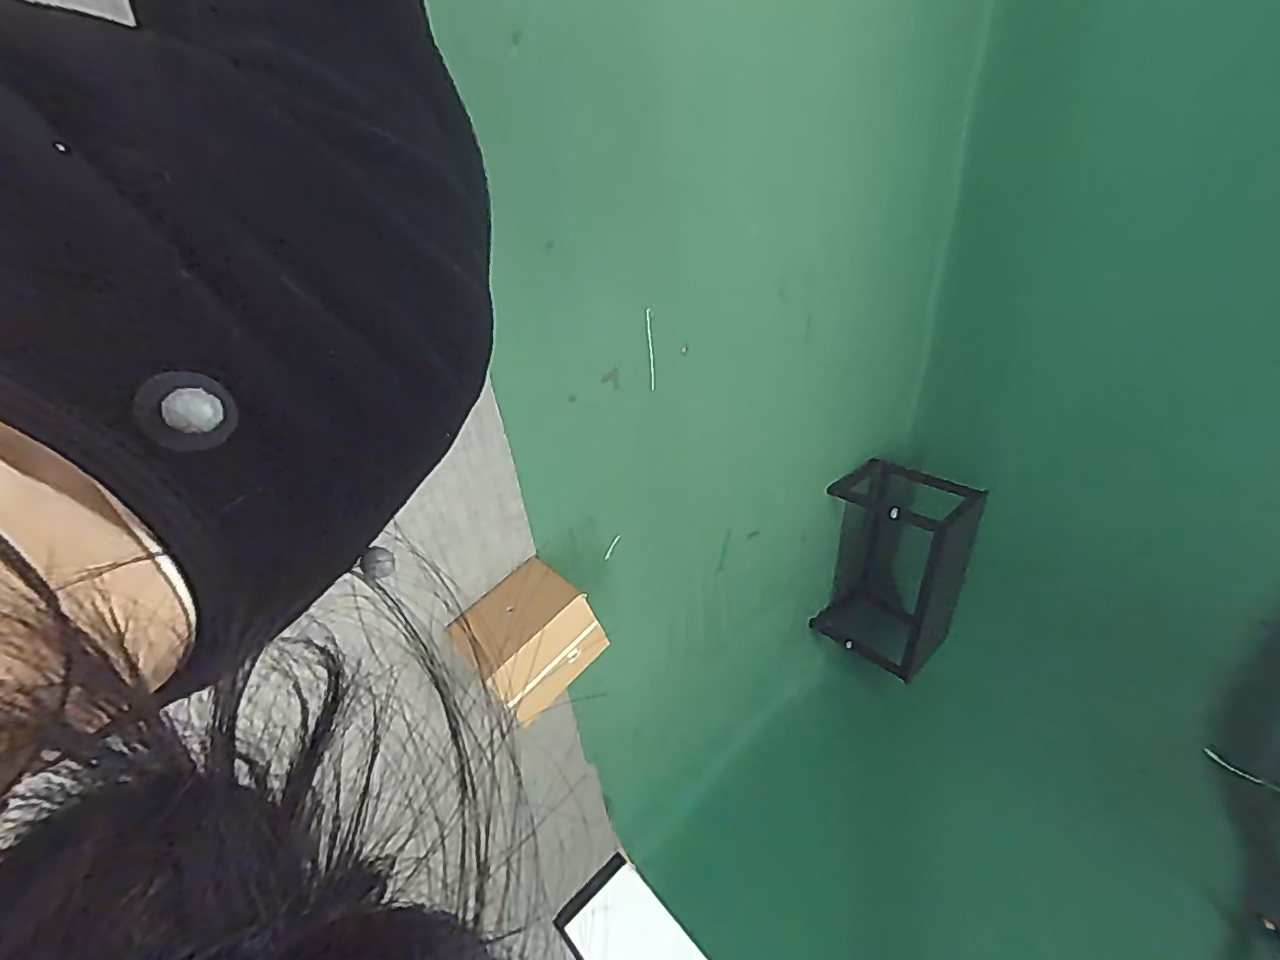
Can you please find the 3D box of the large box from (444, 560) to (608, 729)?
[{"bbox_3d":[-0.393,0.563,1.898,0.408,0.320,0.320,-42,133,-25],"label":"large box"}]
